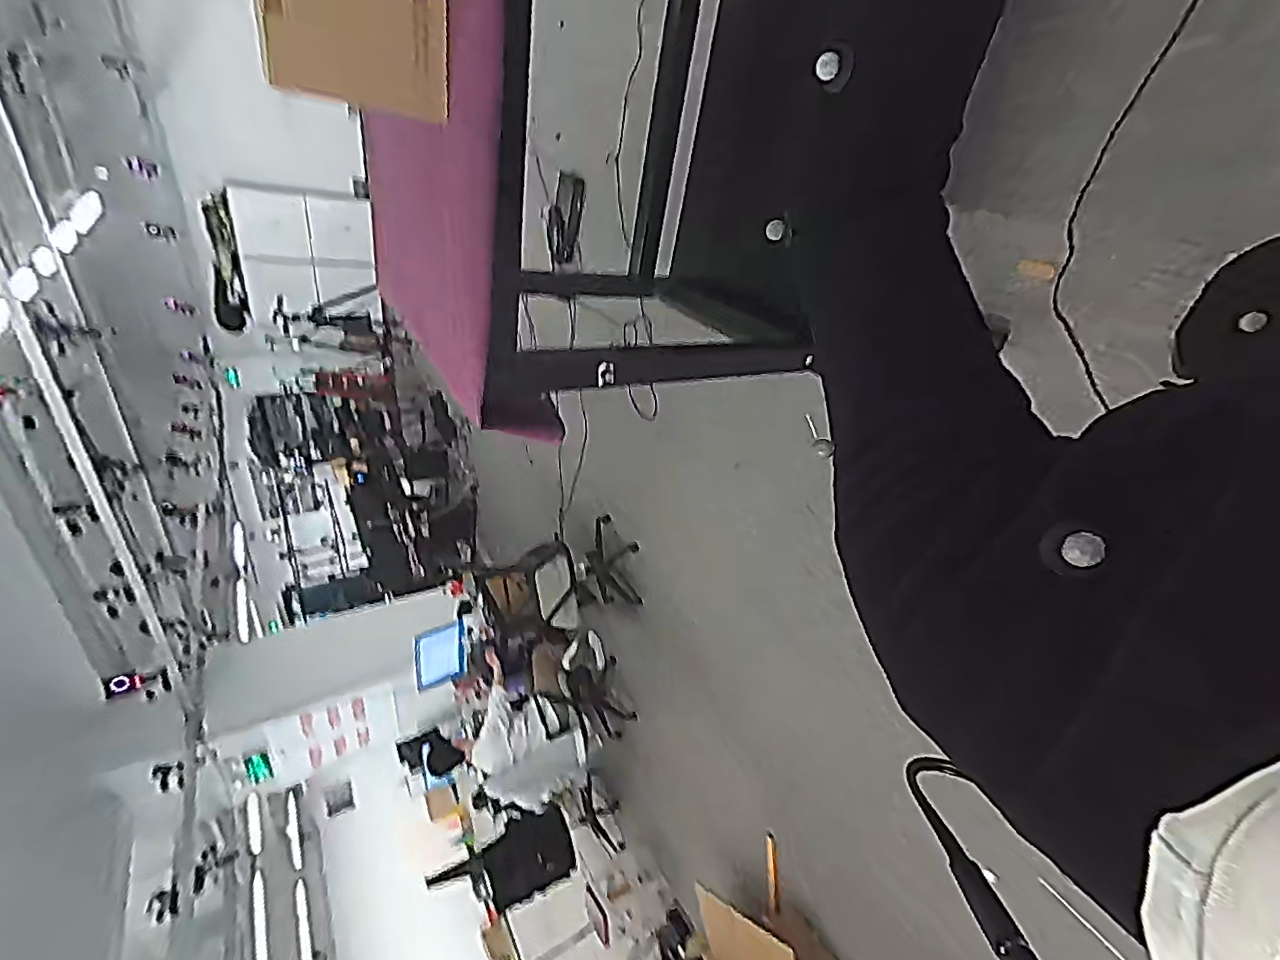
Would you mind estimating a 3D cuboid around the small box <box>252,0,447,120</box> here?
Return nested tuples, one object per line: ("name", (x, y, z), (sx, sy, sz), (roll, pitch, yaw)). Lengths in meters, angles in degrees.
("small box", (-0.309, -0.497, 0.572), (0.179, 0.176, 0.168), (47, 136, 42))
